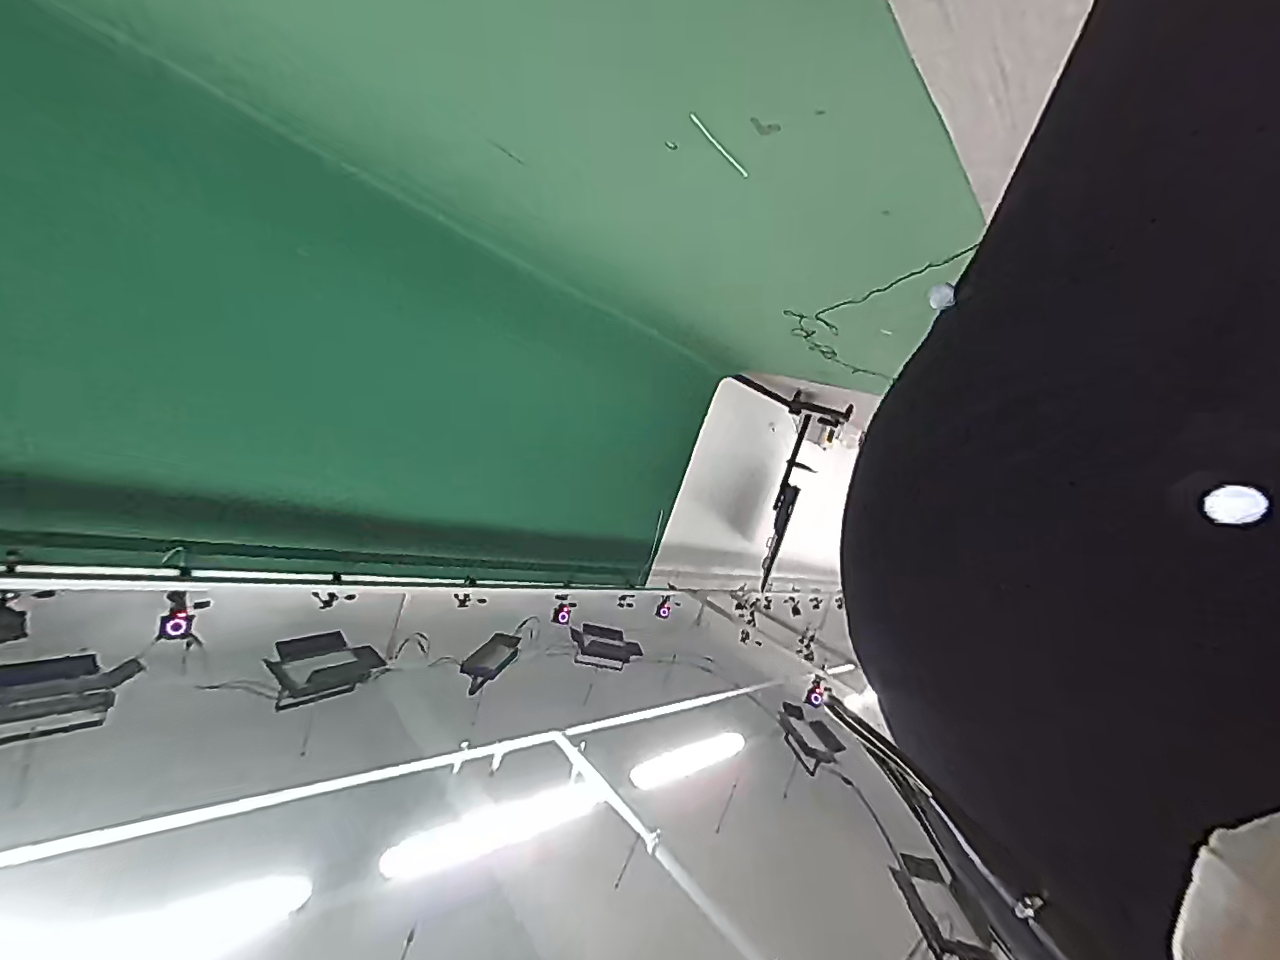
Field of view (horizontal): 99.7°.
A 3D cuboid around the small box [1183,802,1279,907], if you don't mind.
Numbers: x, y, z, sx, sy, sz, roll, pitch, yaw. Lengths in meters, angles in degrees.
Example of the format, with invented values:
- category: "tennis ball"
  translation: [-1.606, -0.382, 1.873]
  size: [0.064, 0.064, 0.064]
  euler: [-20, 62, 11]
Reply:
- category: "small box"
  translation: [1.793, 1.118, 1.633]
  size: [0.168, 0.176, 0.179]
  euler: [24, -171, 41]
